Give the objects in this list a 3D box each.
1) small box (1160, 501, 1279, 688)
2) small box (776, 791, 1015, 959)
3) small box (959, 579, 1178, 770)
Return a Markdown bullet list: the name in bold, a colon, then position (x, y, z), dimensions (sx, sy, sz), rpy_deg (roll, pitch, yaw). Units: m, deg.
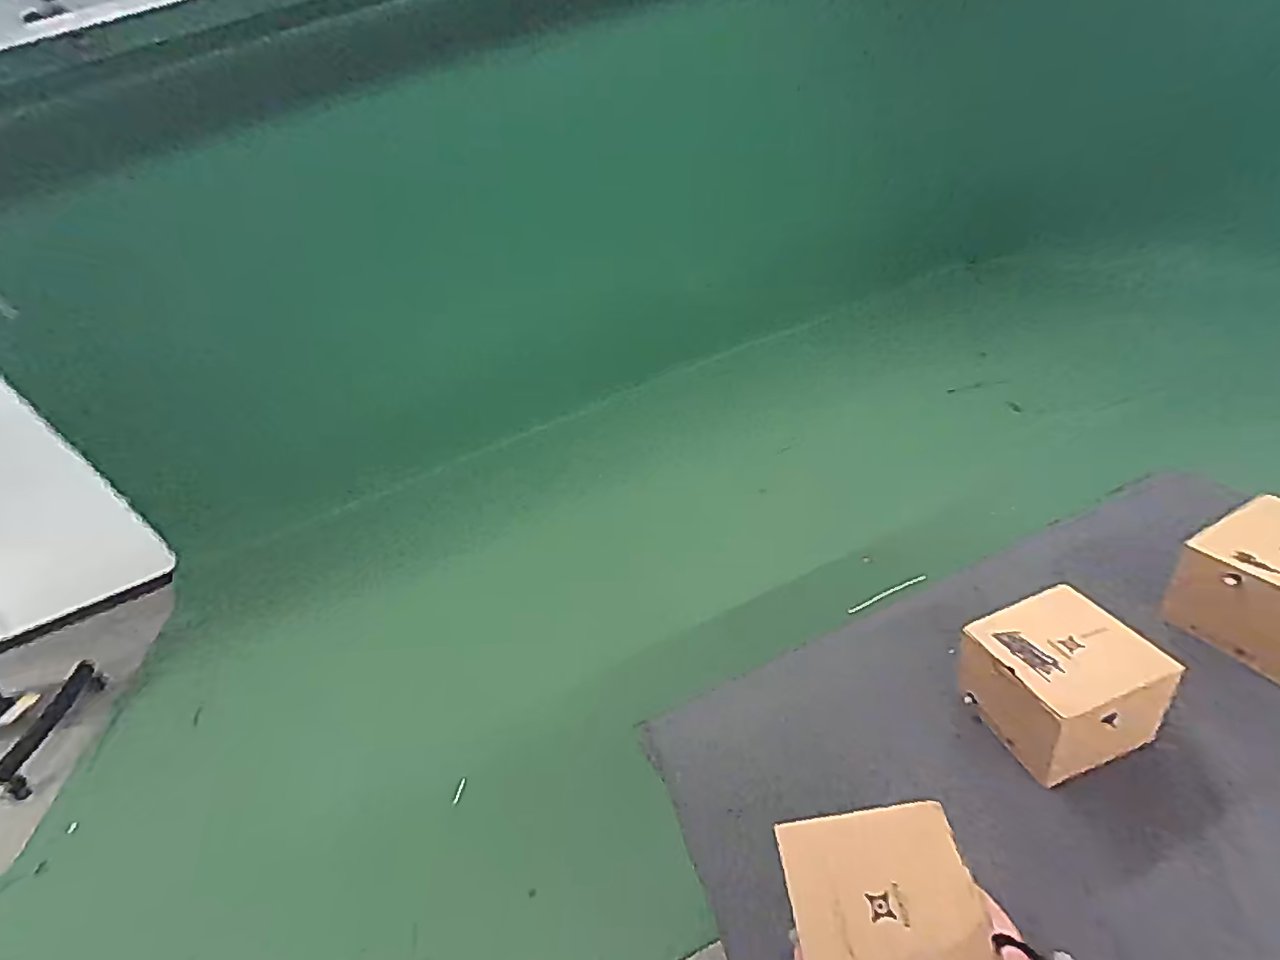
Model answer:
- **small box**: position (0.936, 0.167, 0.803), dimensions (0.179, 0.176, 0.168), rpy_deg (-27, 36, -11)
- **small box**: position (0.252, 0.447, 0.554), dimensions (0.179, 0.176, 0.168), rpy_deg (-15, 38, 10)
- **small box**: position (0.588, 0.278, 0.772), dimensions (0.179, 0.176, 0.168), rpy_deg (-19, 35, -1)
